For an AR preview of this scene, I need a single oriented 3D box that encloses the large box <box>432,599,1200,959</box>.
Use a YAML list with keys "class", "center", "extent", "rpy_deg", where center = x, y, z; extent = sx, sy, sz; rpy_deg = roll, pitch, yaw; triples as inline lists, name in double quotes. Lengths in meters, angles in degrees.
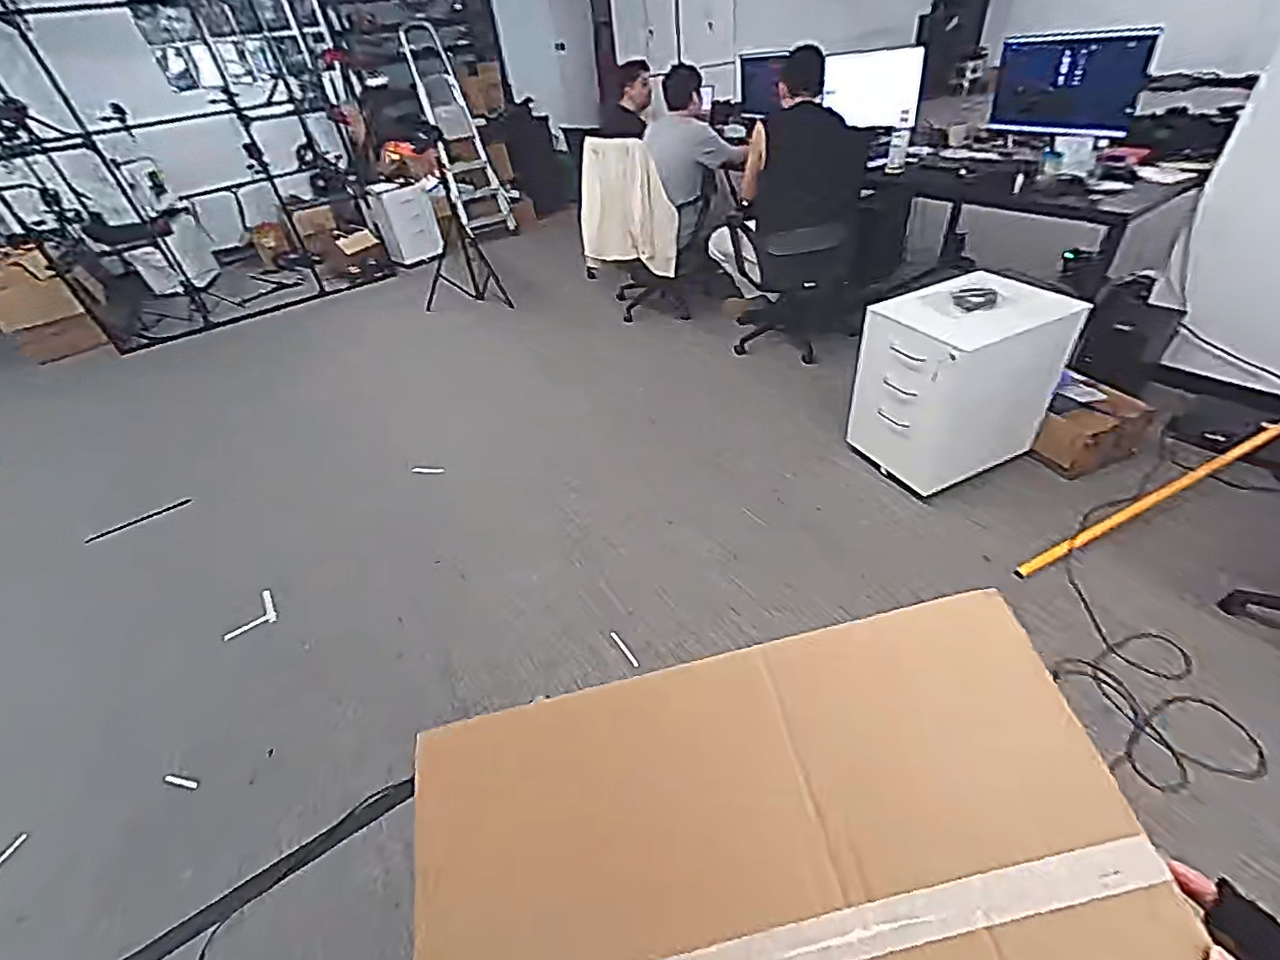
- class: "large box"
  center: [0.100, 0.336, 0.420]
  extent: [0.408, 0.320, 0.320]
  rpy_deg: [-15, 59, -1]
